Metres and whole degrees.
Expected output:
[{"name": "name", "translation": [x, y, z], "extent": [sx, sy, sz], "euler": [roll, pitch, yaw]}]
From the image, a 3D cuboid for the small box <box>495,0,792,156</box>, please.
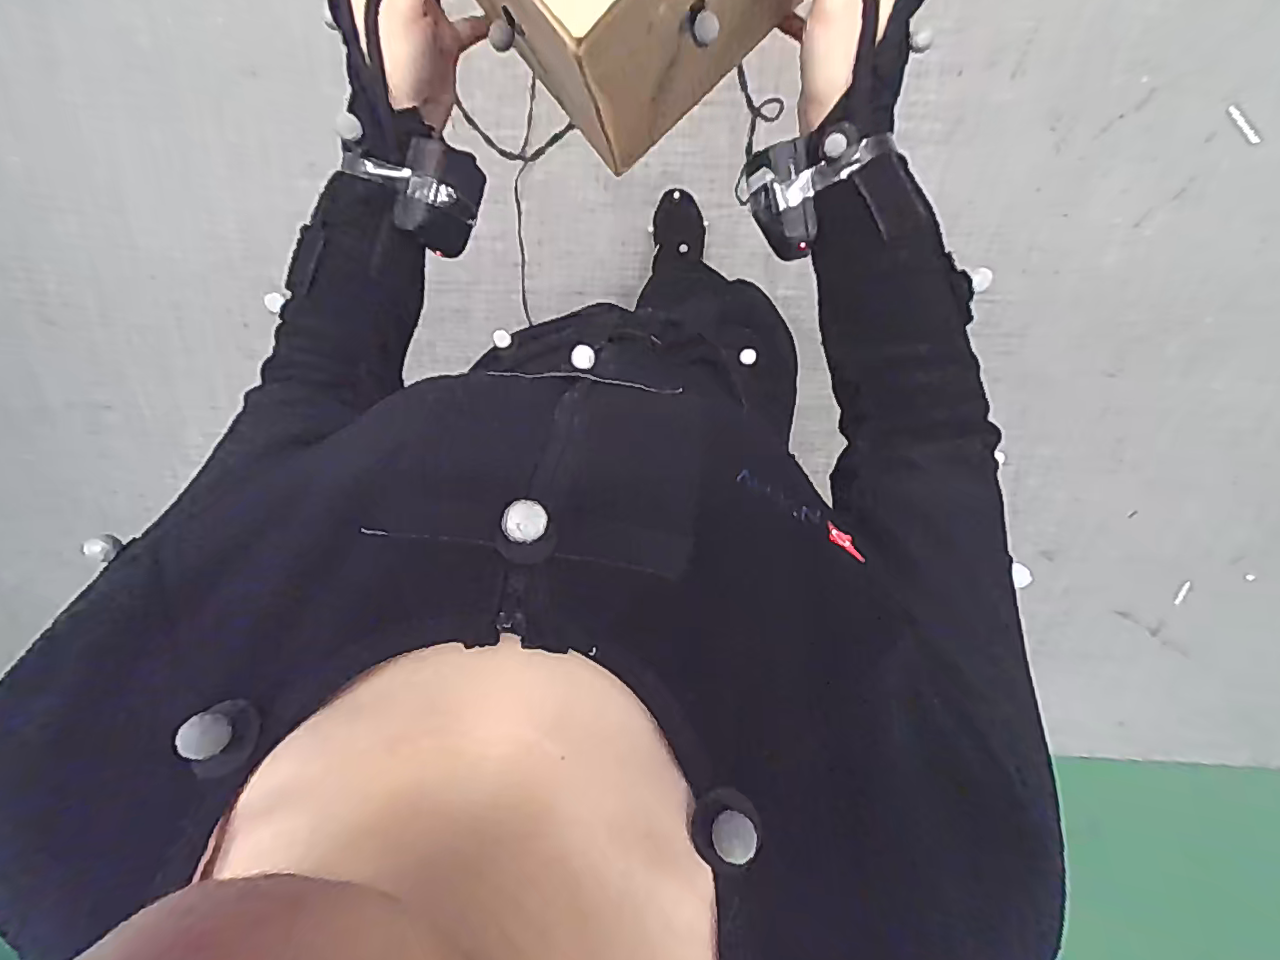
[{"name": "small box", "translation": [-0.007, -0.329, 0.301], "extent": [0.179, 0.176, 0.168], "euler": [-40, 96, 11]}]
